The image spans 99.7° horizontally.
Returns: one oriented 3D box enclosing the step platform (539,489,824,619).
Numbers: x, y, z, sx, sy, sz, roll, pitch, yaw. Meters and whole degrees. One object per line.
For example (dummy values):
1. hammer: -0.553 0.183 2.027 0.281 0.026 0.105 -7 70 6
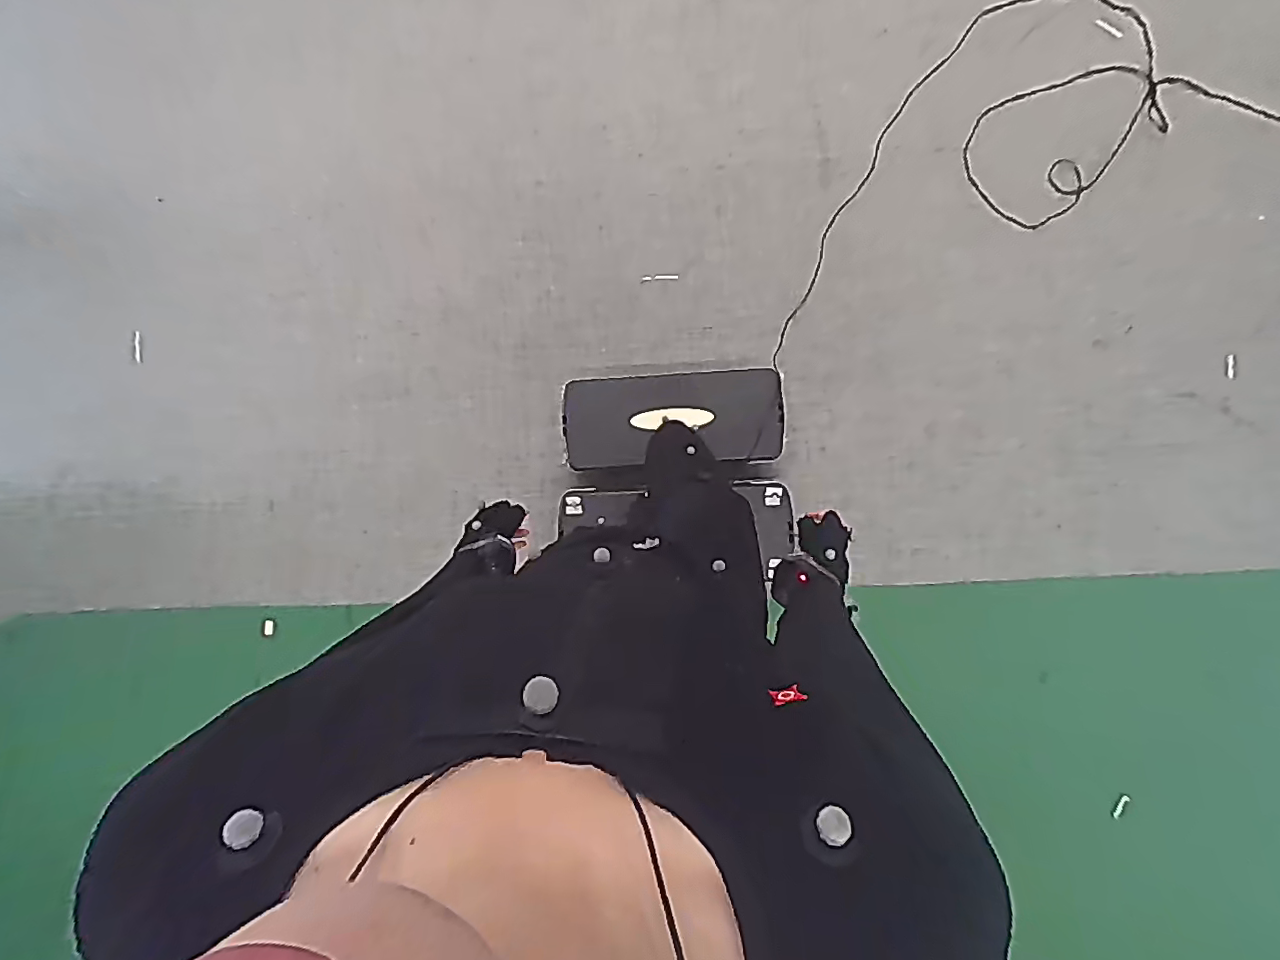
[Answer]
1. step platform: 0.098 0.181 1.386 0.684 0.204 0.286 -3 89 2
